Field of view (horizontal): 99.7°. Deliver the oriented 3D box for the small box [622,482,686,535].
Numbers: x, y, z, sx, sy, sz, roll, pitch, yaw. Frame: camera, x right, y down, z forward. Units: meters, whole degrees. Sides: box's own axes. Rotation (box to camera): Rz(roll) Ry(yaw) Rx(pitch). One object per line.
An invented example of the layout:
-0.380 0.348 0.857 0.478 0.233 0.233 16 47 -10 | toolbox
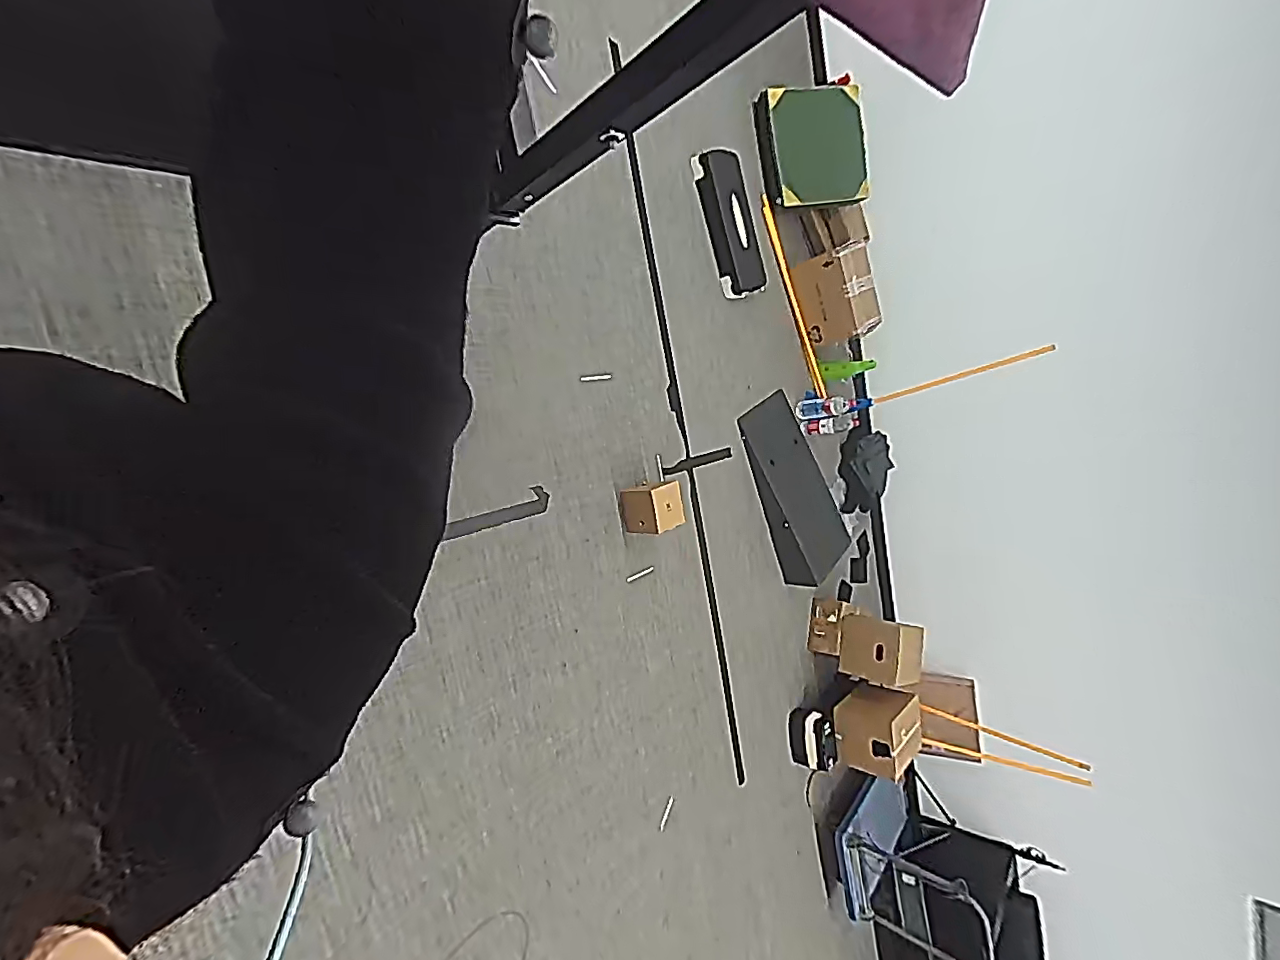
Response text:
0.054 0.109 2.124 0.168 0.176 0.179 -18 101 -45 | small box
